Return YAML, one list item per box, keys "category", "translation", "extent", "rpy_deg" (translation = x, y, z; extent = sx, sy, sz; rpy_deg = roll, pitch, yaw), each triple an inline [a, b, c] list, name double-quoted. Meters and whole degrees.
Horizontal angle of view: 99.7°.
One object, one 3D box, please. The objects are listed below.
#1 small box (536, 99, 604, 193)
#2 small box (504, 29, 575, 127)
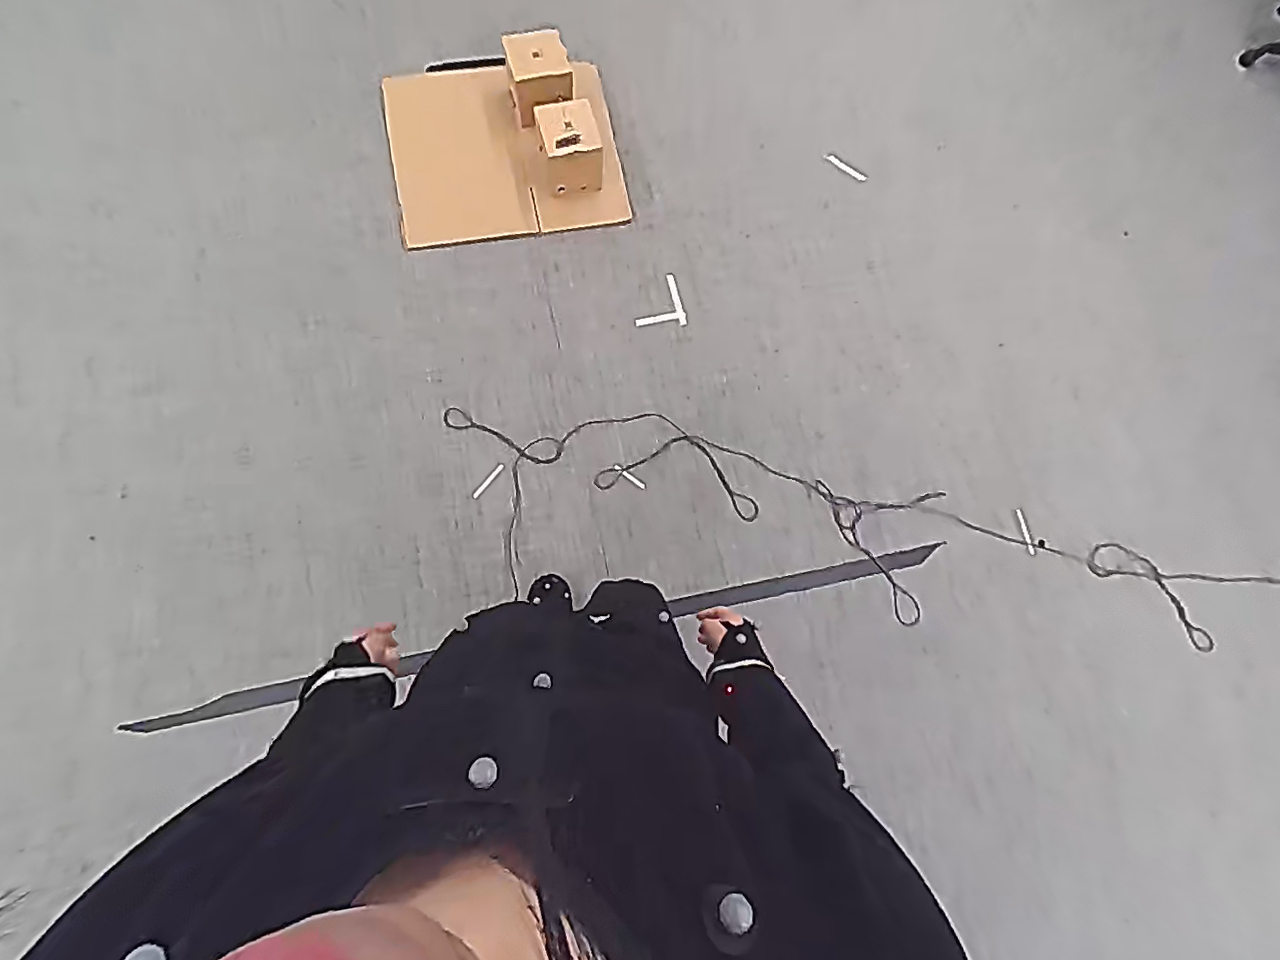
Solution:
- category: "small box"
  translation: [-0.209, -0.998, 1.632]
  extent: [0.168, 0.176, 0.179]
  rpy_deg: [-14, 80, -9]
- category: "small box"
  translation: [-0.305, -1.236, 1.671]
  extent: [0.179, 0.176, 0.168]
  rpy_deg: [-17, 80, -8]
